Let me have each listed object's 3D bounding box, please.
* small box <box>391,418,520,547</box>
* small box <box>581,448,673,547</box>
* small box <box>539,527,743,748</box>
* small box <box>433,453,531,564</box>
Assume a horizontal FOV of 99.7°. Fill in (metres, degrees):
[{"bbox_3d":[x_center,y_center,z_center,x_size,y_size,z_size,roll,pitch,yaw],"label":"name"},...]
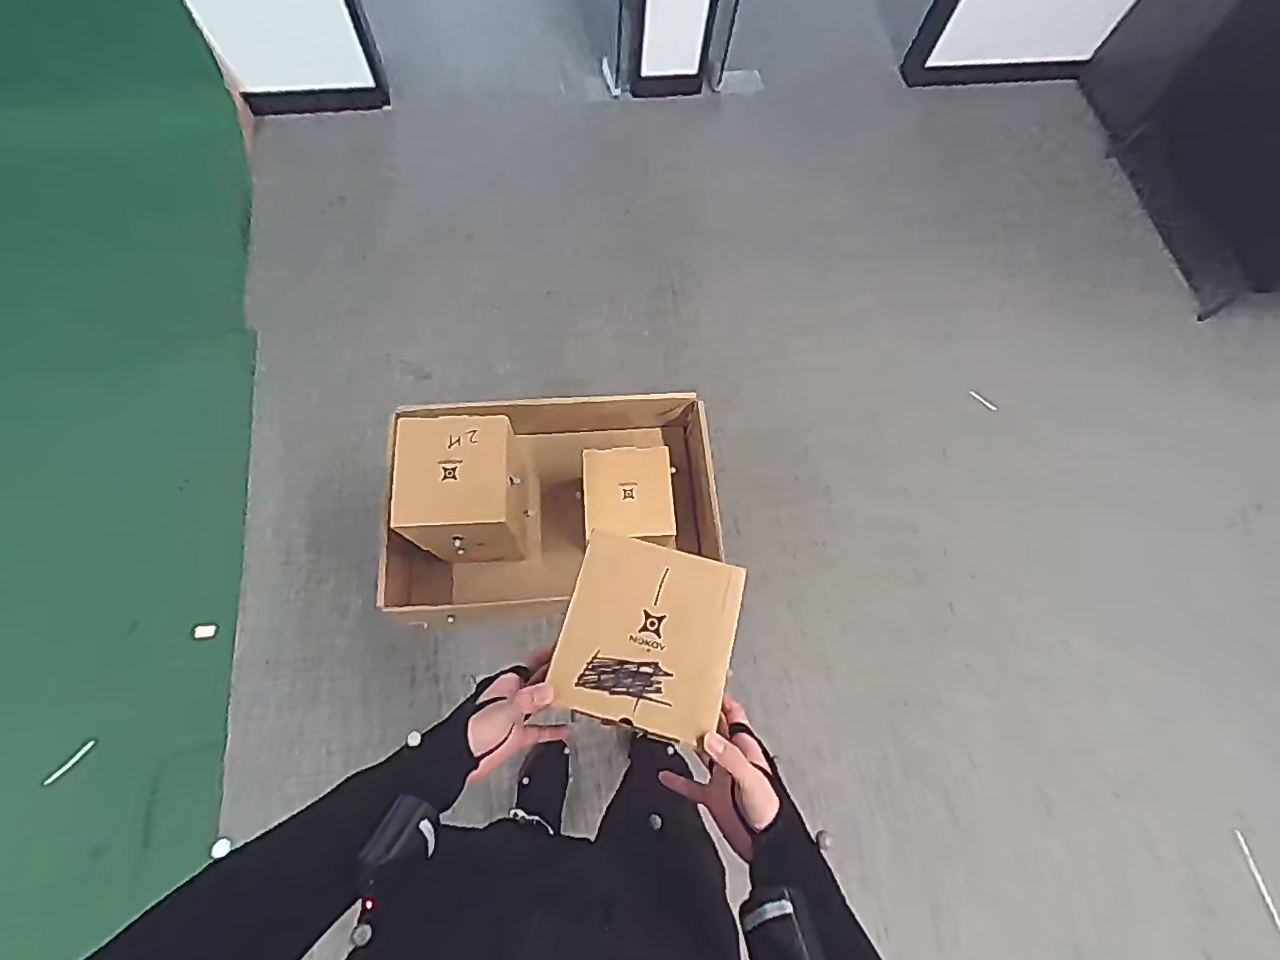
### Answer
[{"bbox_3d":[-0.290,0.012,0.887,0.168,0.176,0.179,-1,71,-6],"label":"small box"},{"bbox_3d":[-0.029,0.050,1.071,0.168,0.176,0.179,-3,71,-5],"label":"small box"},{"bbox_3d":[0.002,0.176,0.600,0.168,0.176,0.179,15,68,2],"label":"small box"},{"bbox_3d":[-0.306,0.059,1.044,0.168,0.176,0.179,-1,70,-4],"label":"small box"}]
